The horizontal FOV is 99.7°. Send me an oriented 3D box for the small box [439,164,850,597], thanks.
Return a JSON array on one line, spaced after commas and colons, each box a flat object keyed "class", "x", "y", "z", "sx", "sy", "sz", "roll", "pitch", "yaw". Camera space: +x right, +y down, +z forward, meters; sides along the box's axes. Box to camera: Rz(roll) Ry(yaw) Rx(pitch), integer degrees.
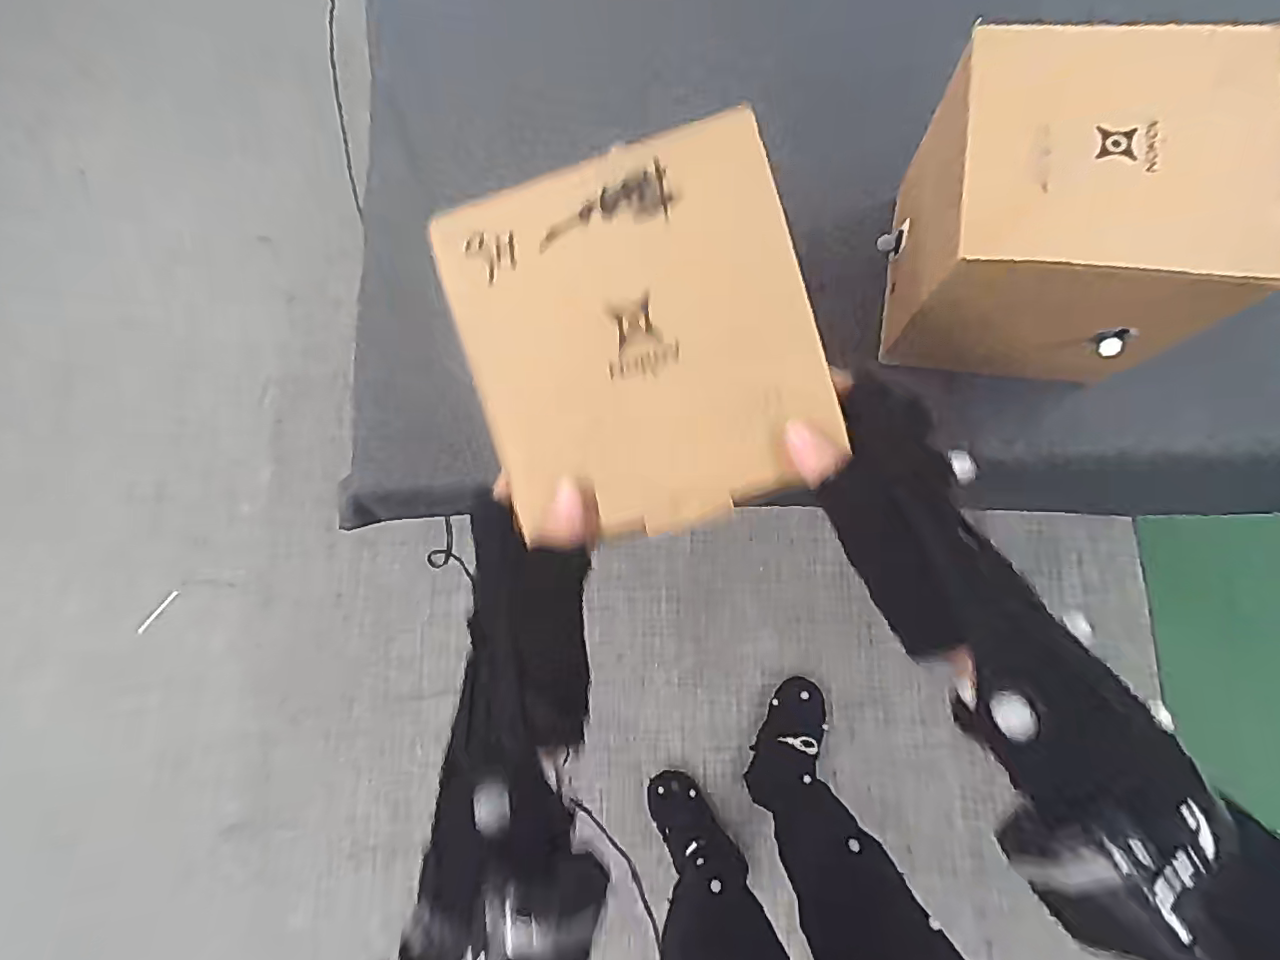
[{"class": "small box", "x": 0.008, "y": -0.051, "z": 0.342, "sx": 0.168, "sy": 0.176, "sz": 0.179, "roll": -17, "pitch": 94, "yaw": 5}]
